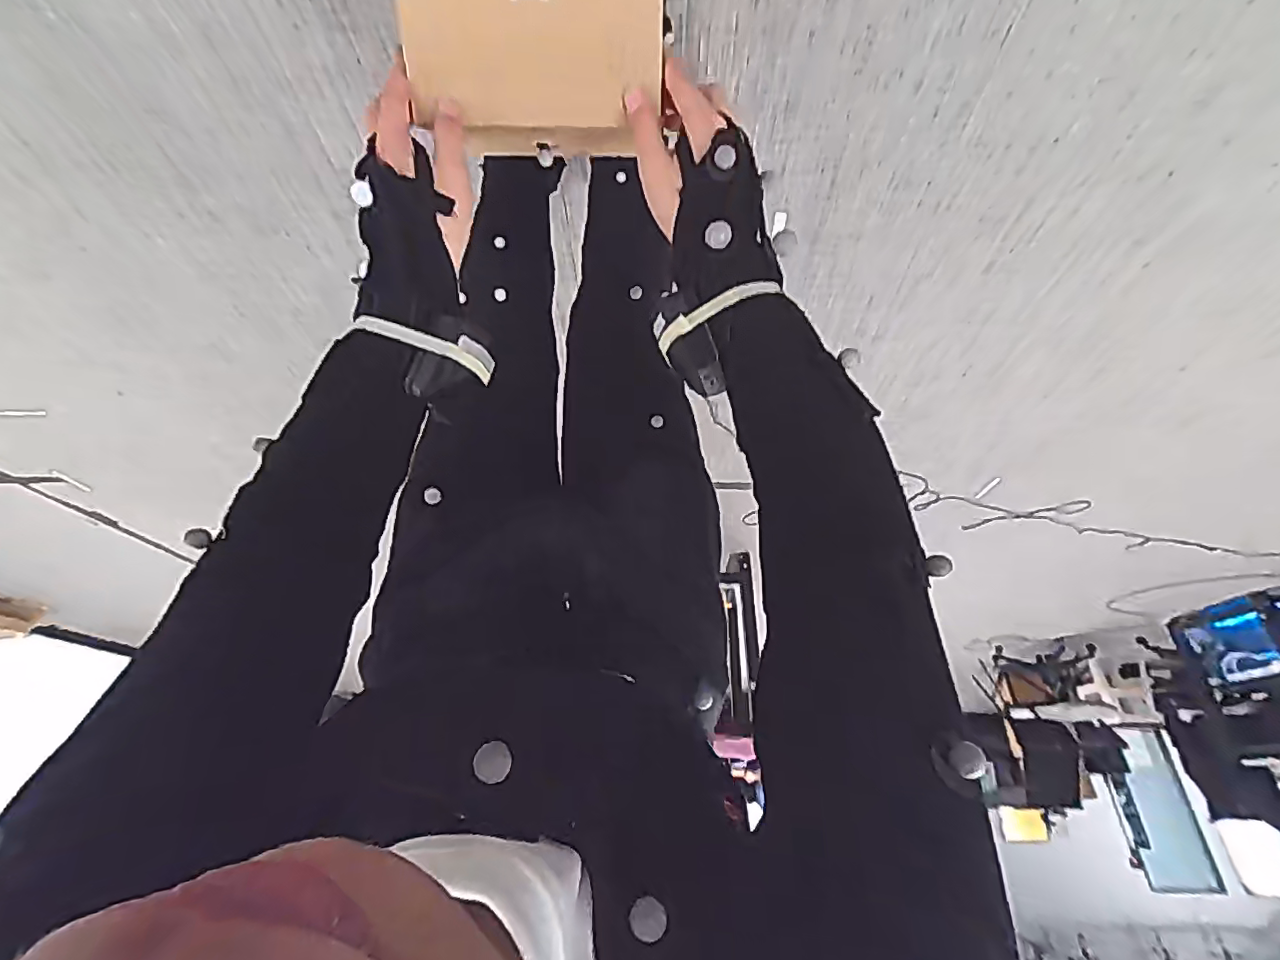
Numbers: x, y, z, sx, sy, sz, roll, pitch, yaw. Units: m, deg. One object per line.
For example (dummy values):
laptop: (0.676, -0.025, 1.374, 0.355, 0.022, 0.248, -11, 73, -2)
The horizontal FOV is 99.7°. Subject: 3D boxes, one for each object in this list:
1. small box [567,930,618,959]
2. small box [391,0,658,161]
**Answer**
small box: (-0.173, 1.761, 1.970, 0.179, 0.176, 0.168, -3, 150, 2)
small box: (-0.072, -0.340, 0.393, 0.168, 0.176, 0.179, -1, 115, -3)
